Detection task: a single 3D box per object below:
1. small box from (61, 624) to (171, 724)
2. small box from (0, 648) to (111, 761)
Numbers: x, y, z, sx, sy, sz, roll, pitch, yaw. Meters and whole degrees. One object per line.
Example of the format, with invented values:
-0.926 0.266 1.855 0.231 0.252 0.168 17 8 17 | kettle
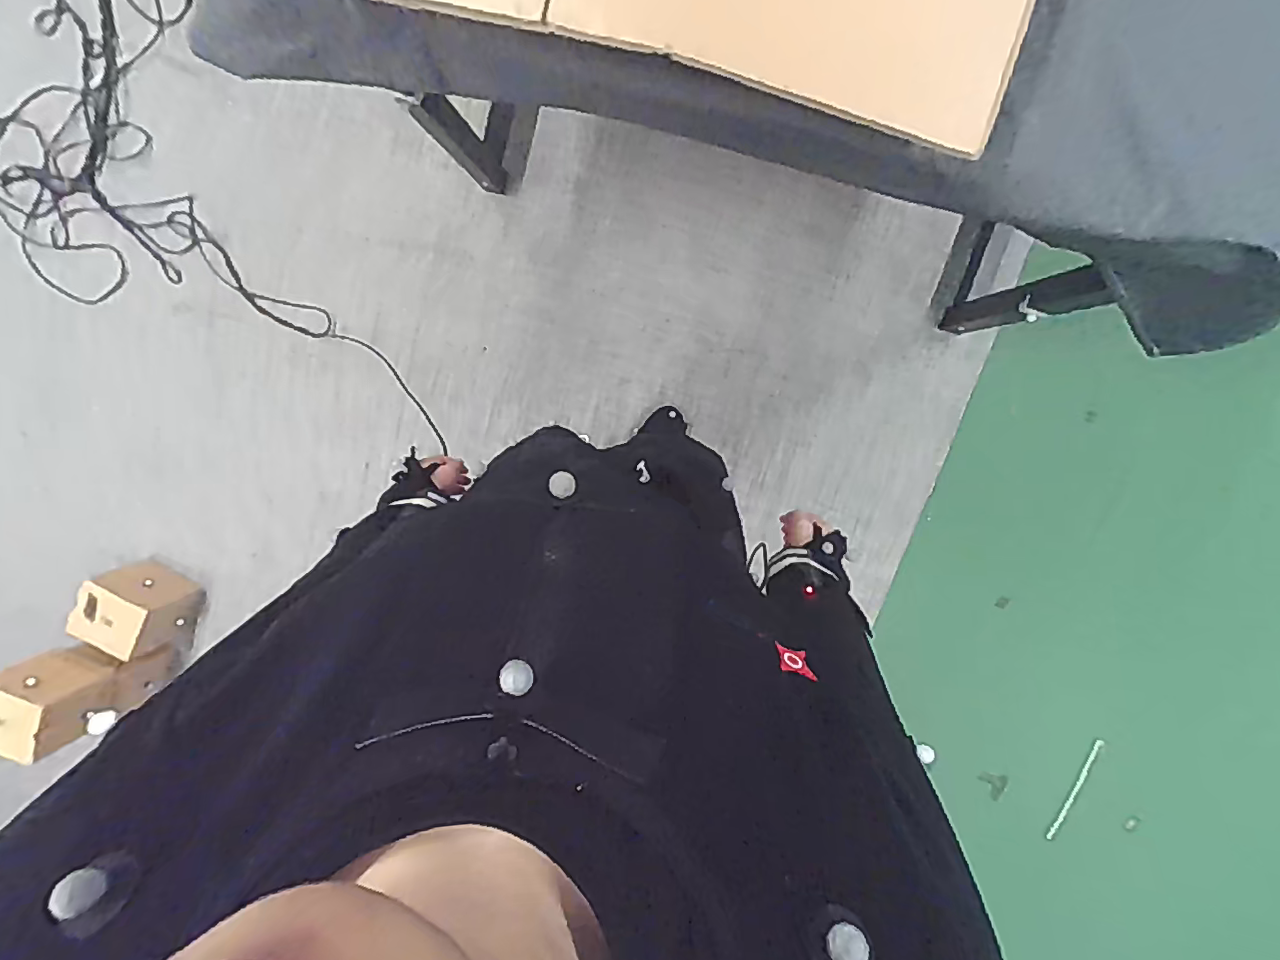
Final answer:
-1.442 0.520 1.474 0.179 0.176 0.168 21 101 -1 | small box
-1.461 0.533 1.312 0.179 0.176 0.168 21 100 -1 | small box
